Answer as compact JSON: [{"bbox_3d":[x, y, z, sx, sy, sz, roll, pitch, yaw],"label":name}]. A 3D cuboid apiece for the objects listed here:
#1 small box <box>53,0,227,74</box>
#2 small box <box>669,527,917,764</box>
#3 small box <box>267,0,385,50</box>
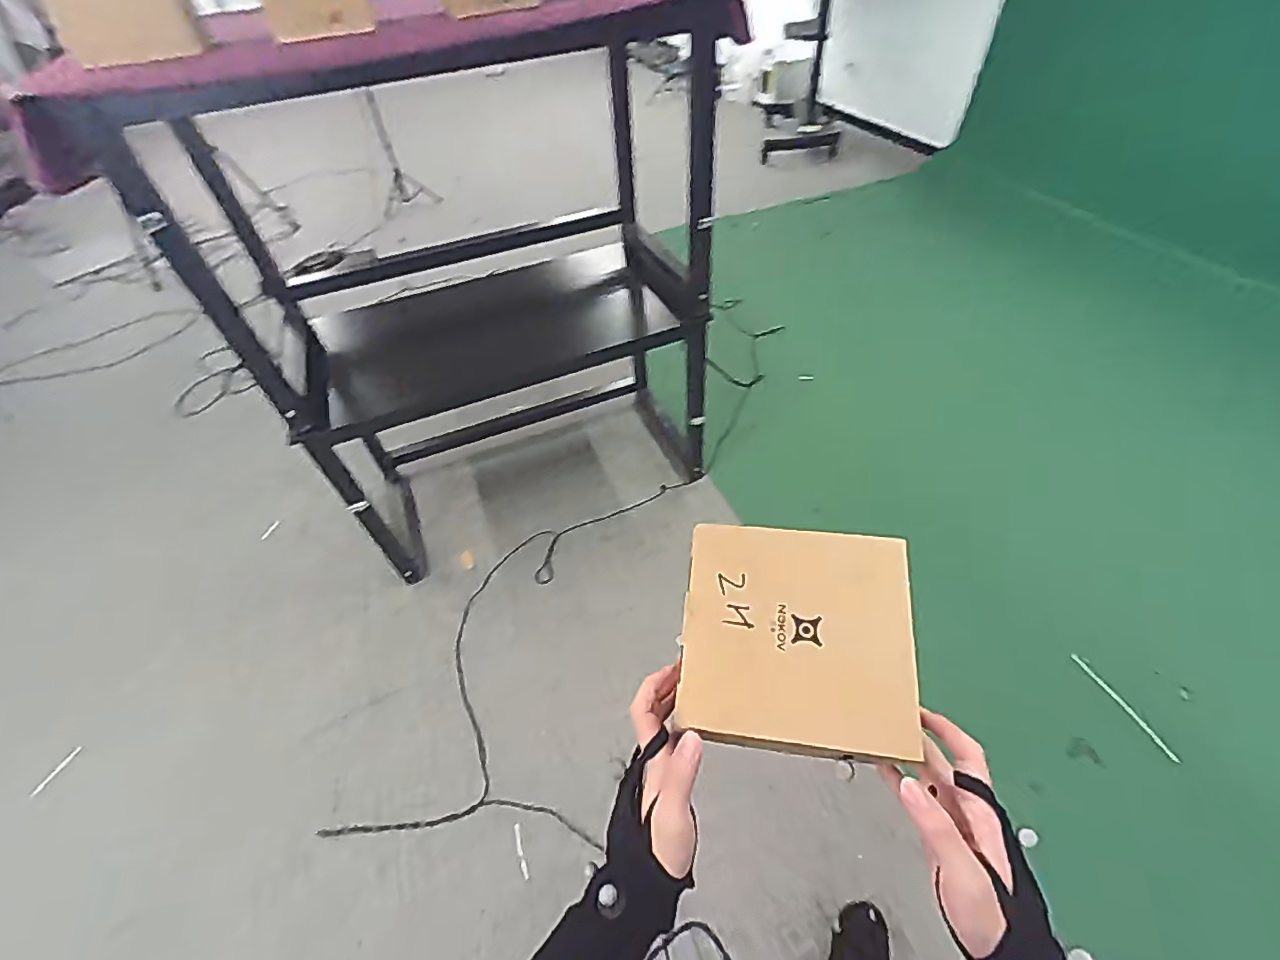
[{"bbox_3d":[-0.820,-0.776,0.872,0.179,0.176,0.168,-18,48,-13],"label":"small box"},{"bbox_3d":[0.127,0.155,0.492,0.179,0.176,0.168,3,62,11],"label":"small box"},{"bbox_3d":[-0.557,-0.862,0.930,0.168,0.176,0.179,-19,47,-12],"label":"small box"}]
